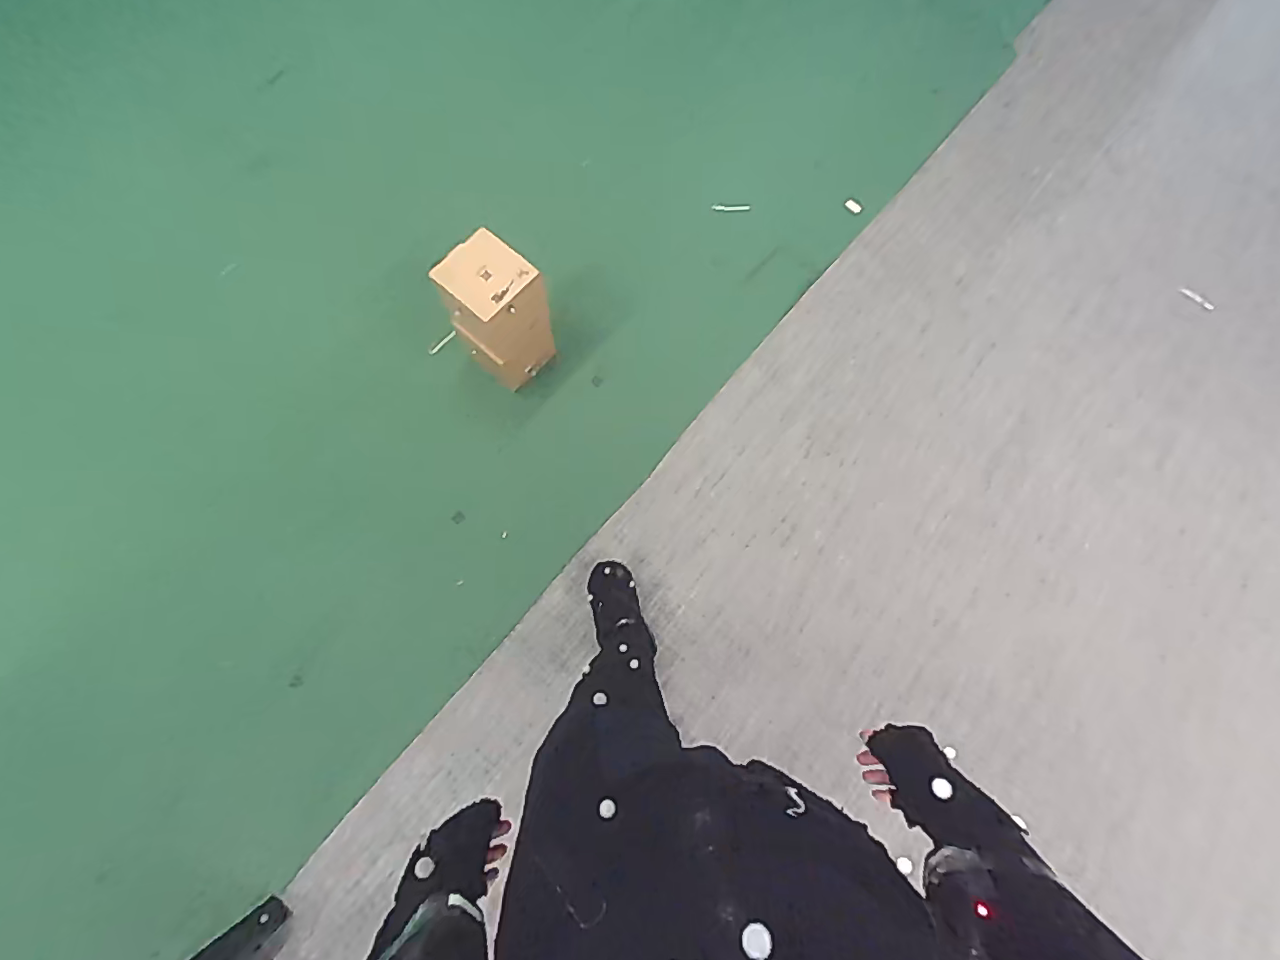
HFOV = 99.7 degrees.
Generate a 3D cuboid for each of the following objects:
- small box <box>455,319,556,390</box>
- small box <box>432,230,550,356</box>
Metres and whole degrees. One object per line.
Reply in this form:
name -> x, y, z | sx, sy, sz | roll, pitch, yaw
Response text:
small box -> -0.336, -0.362, 1.384 | 0.179, 0.176, 0.168 | 41, 77, 7
small box -> -0.329, -0.416, 1.229 | 0.179, 0.176, 0.168 | 40, 77, 9
